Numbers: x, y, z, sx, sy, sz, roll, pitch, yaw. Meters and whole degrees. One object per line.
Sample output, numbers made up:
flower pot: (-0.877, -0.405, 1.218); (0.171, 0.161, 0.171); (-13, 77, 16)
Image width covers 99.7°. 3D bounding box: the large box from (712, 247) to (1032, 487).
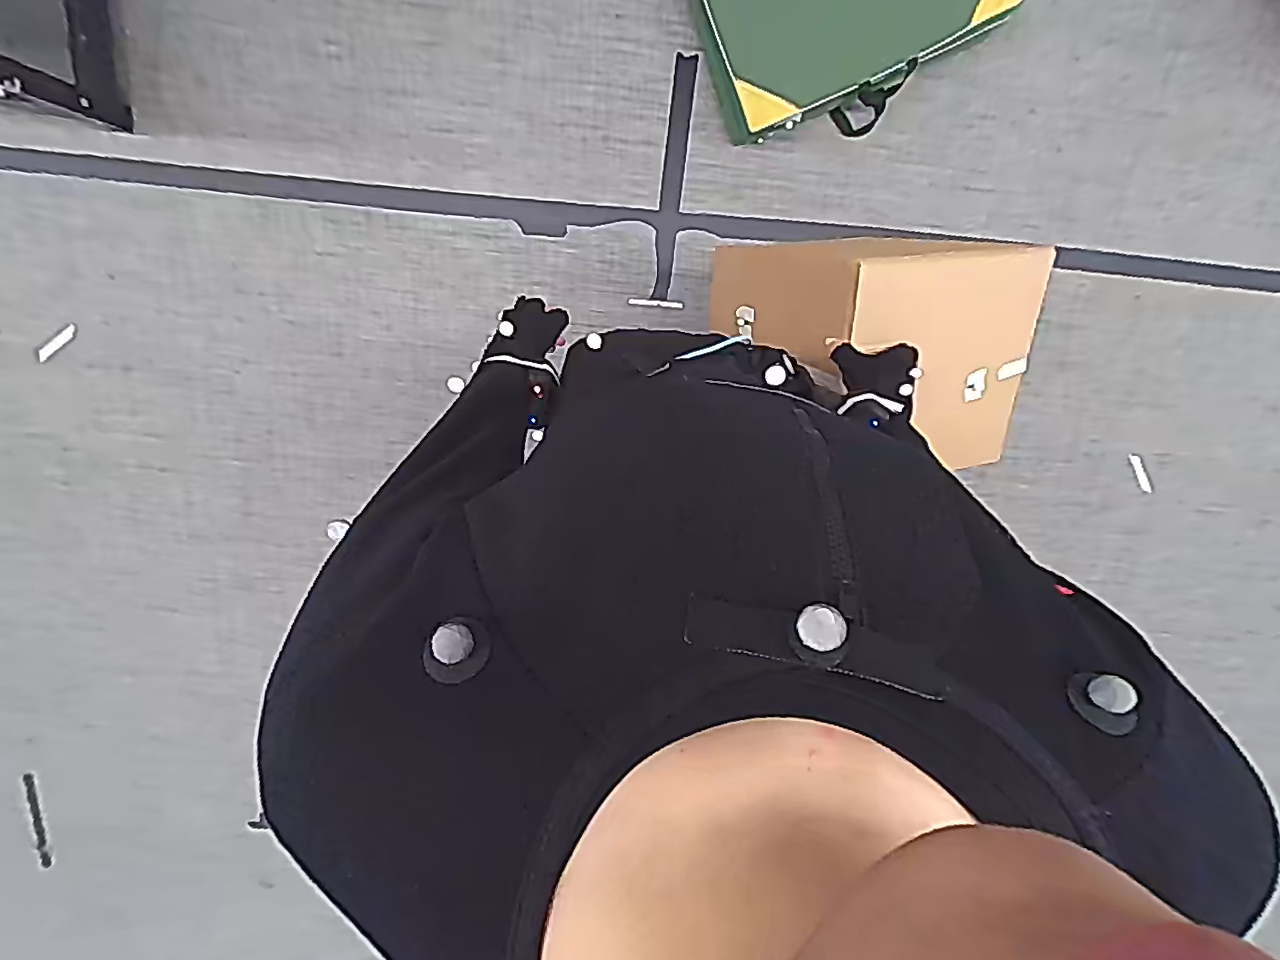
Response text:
large box: (0.349, -0.224, 0.932); (0.320, 0.408, 0.320); (-8, 117, -14)
